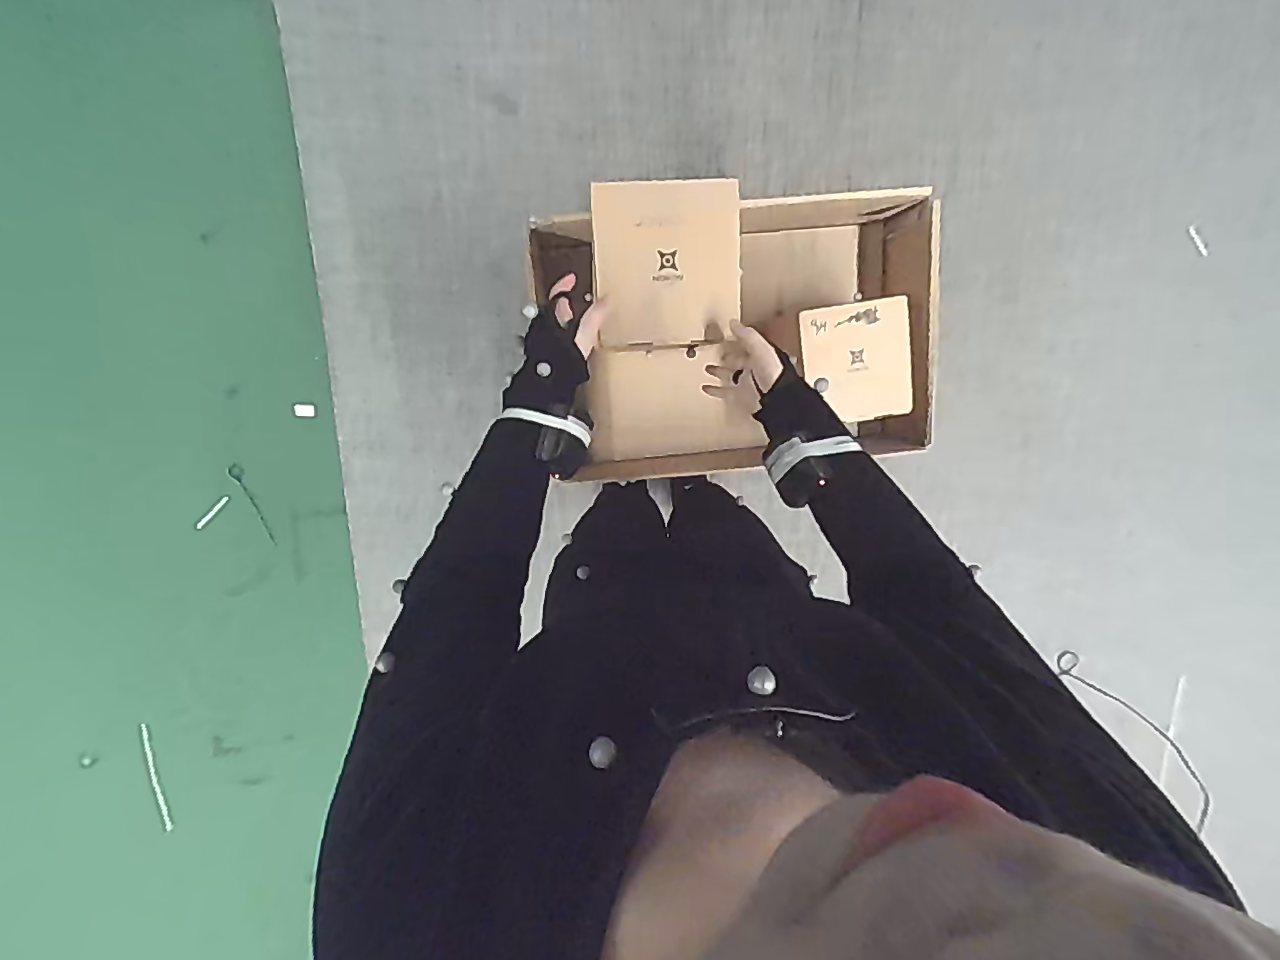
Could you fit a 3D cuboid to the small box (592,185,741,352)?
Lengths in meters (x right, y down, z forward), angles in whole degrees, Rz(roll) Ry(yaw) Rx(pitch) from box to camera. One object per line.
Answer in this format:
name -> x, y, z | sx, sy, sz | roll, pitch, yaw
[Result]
small box -> 0.026, -0.253, 0.686 | 0.168, 0.176, 0.179 | -3, 101, -5
